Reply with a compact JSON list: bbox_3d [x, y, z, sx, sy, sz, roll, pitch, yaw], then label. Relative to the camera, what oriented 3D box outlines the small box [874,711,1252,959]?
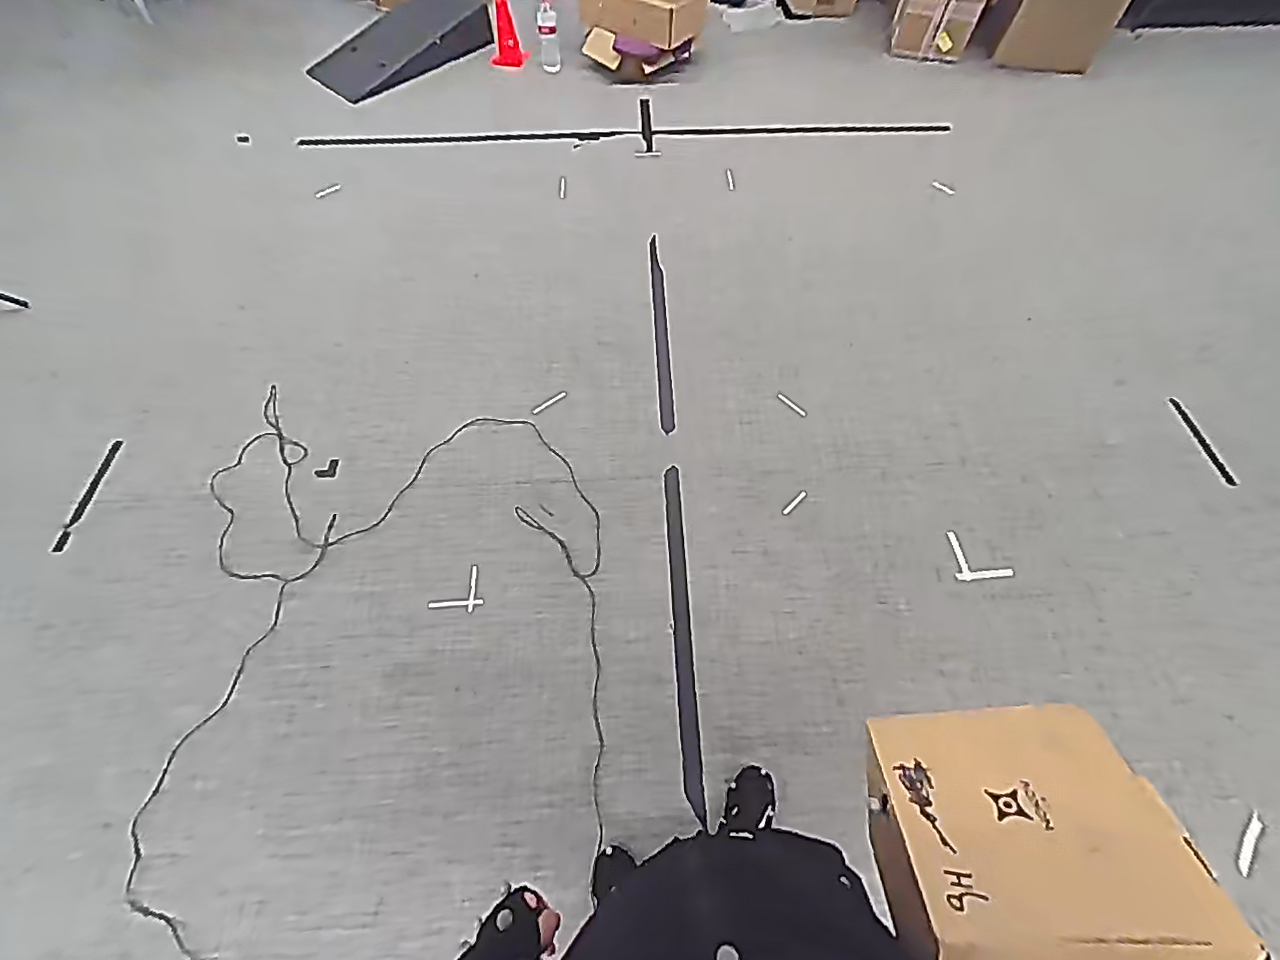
[{"bbox_3d":[0.298,0.313,0.434,0.179,0.176,0.168,-7,25,11],"label":"small box"}]
